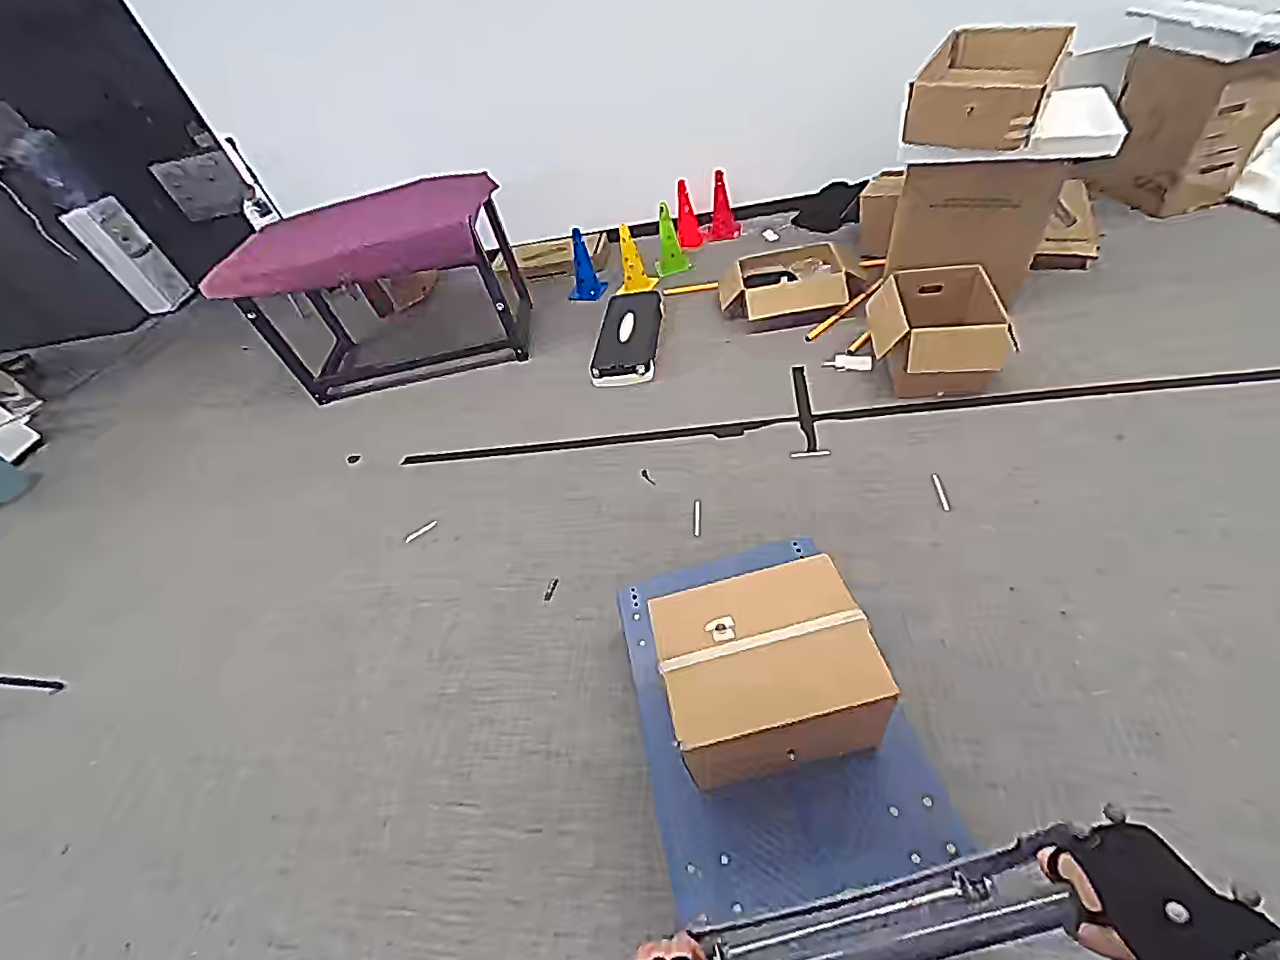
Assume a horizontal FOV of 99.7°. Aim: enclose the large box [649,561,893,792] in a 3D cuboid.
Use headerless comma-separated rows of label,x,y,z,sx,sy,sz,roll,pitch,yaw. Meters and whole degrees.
large box,0.270,0.434,1.180,0.408,0.320,0.320,-16,46,2
